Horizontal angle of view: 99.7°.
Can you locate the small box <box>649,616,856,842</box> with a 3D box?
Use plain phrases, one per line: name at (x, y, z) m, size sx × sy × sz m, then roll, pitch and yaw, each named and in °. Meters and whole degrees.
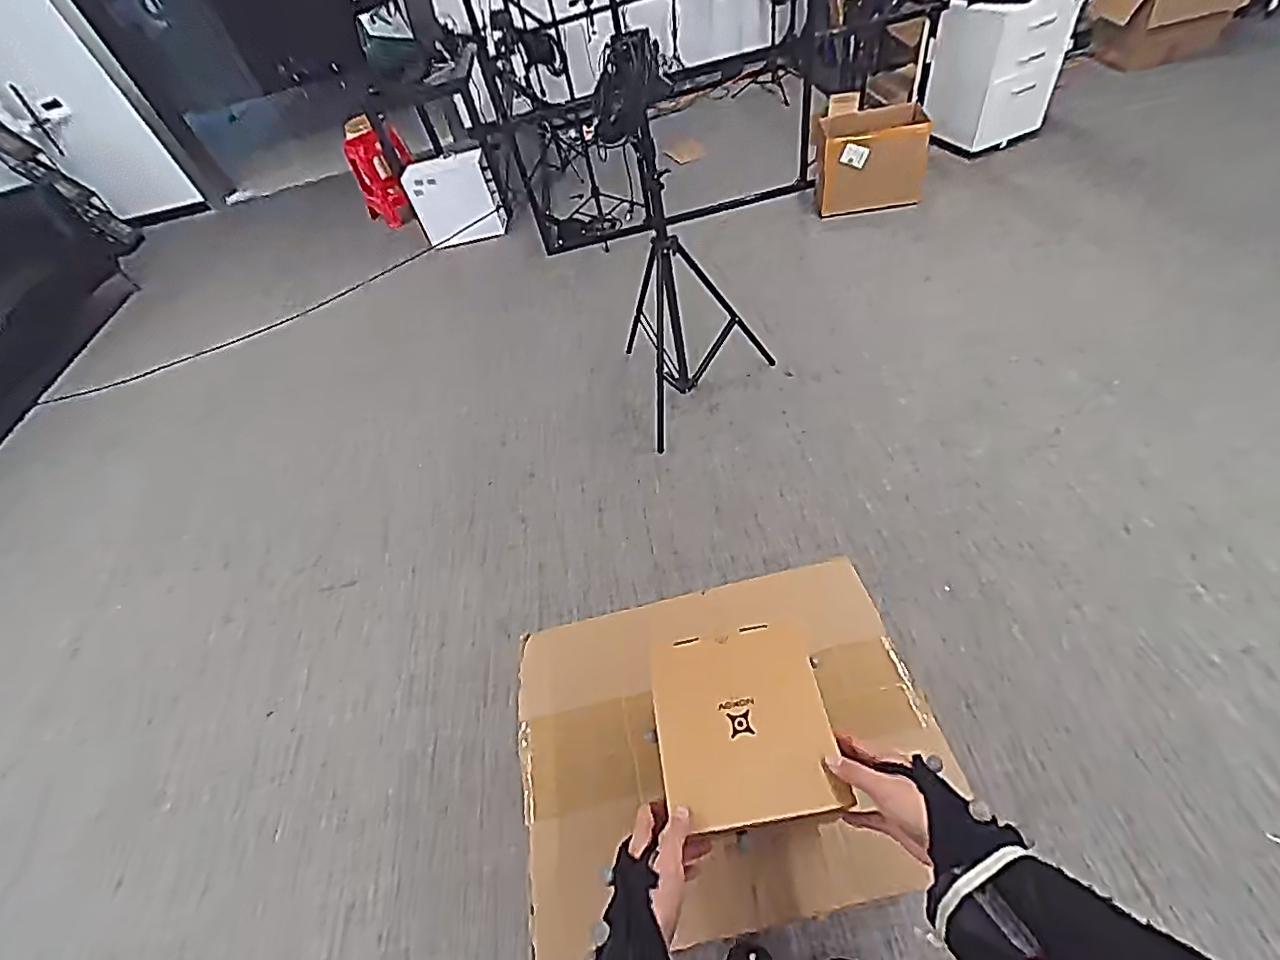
small box at (0.114, 0.274, 0.581) m, size 0.168 × 0.176 × 0.179 m, roll -13°, pitch 50°, yaw 4°
